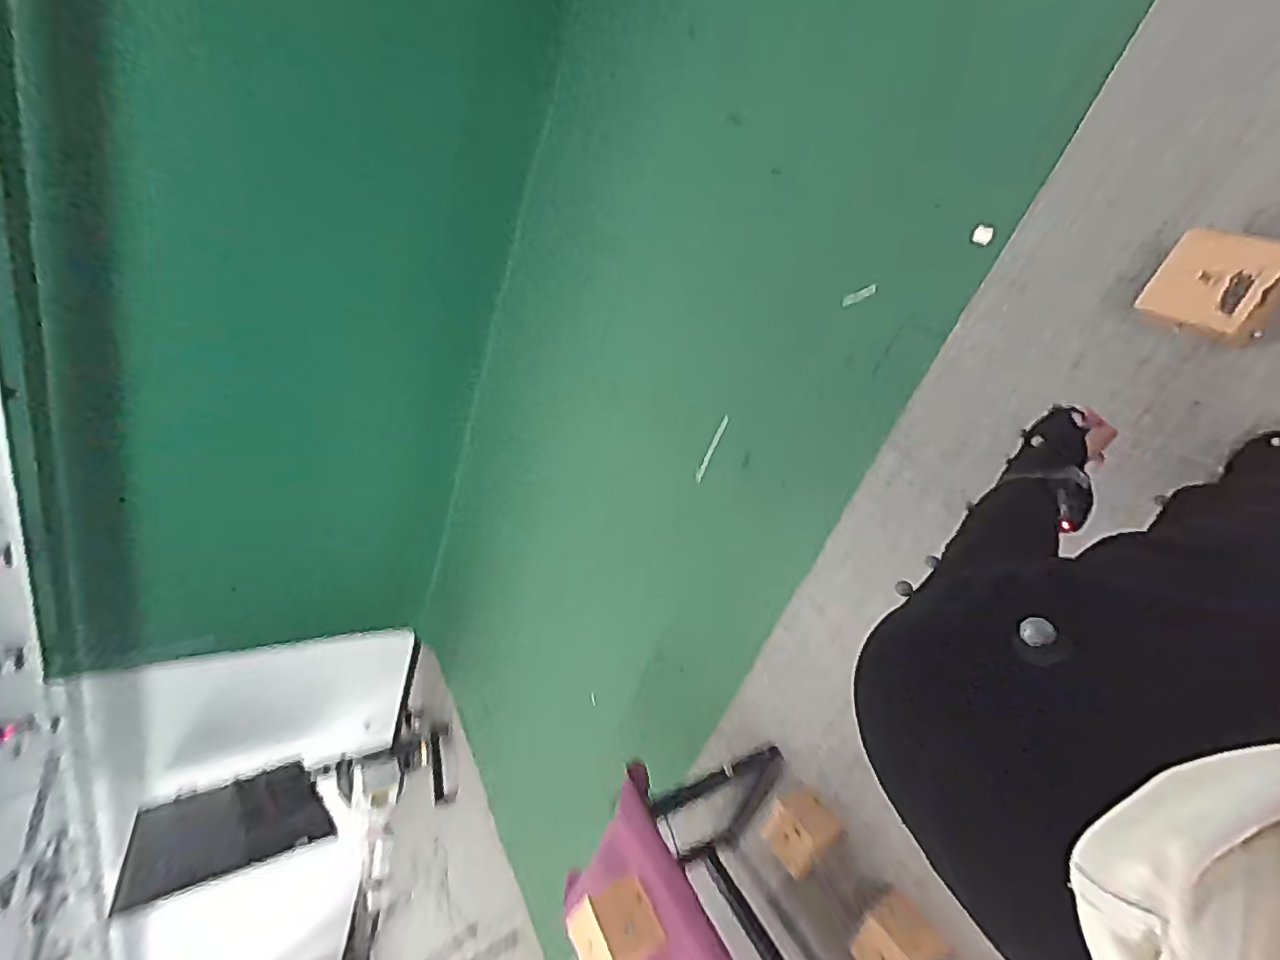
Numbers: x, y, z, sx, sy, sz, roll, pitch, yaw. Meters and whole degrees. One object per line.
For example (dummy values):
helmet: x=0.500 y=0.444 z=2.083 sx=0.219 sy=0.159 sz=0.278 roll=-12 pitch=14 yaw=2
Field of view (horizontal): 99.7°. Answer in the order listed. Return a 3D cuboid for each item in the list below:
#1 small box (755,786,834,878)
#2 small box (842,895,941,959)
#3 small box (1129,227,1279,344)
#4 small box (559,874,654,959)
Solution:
small box: x=0.528 y=1.192 z=1.841 sx=0.168 sy=0.176 sz=0.179 roll=36 pitch=117 yaw=45
small box: x=0.736 y=1.367 z=1.583 sx=0.179 sy=0.176 sz=0.168 roll=36 pitch=117 yaw=45
small box: x=1.165 y=-0.388 z=1.100 sx=0.179 sy=0.176 sz=0.168 roll=46 pitch=123 yaw=42
small box: x=-0.085 y=1.205 z=1.445 sx=0.168 sy=0.176 sz=0.179 roll=50 pitch=127 yaw=38
